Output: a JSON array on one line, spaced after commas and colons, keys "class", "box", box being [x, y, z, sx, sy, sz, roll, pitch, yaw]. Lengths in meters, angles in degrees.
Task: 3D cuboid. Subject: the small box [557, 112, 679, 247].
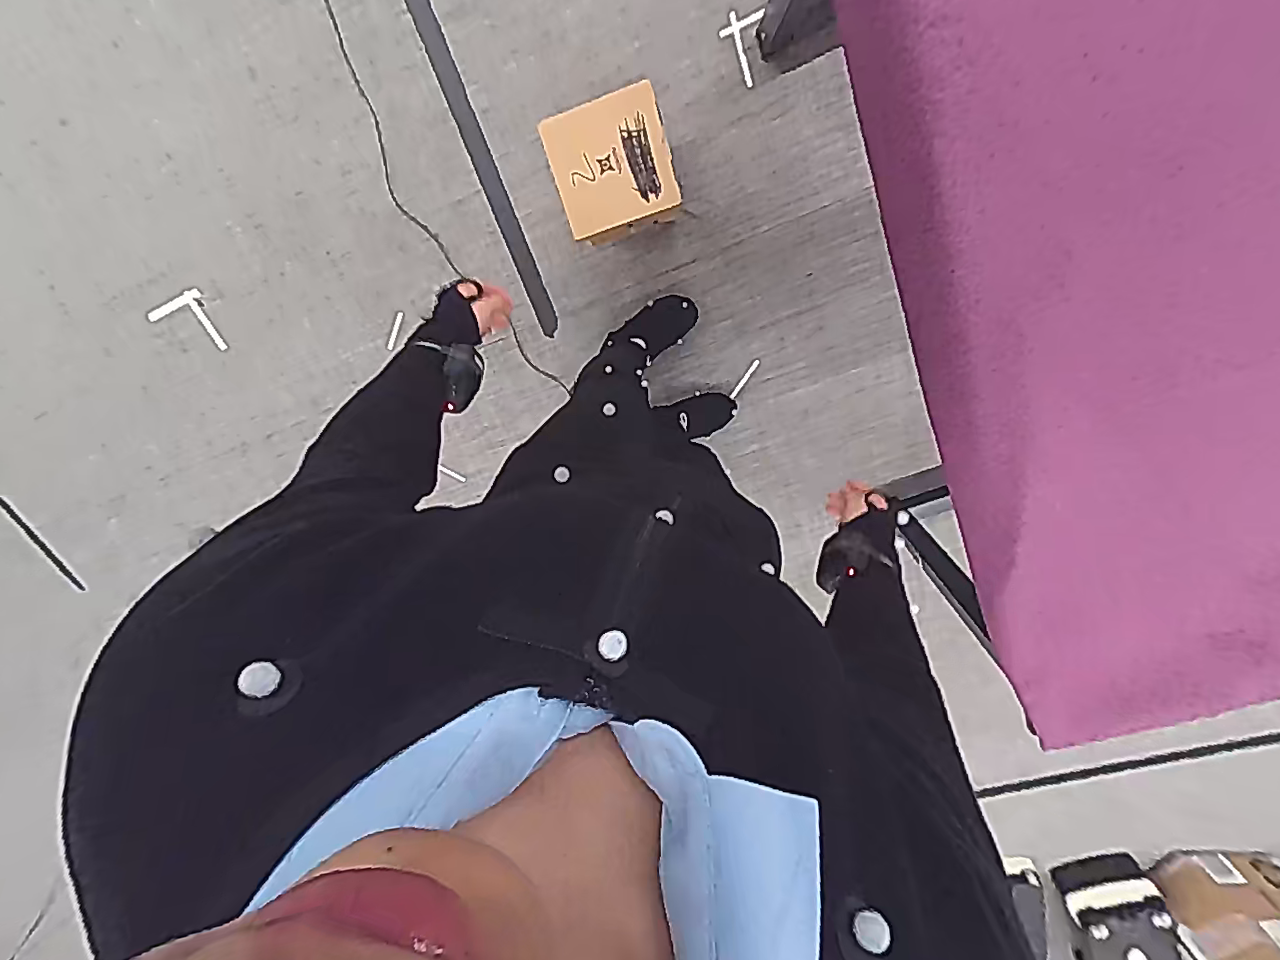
[{"class": "small box", "box": [-0.035, -0.553, 1.016, 0.179, 0.176, 0.168, -17, 111, 11]}]
